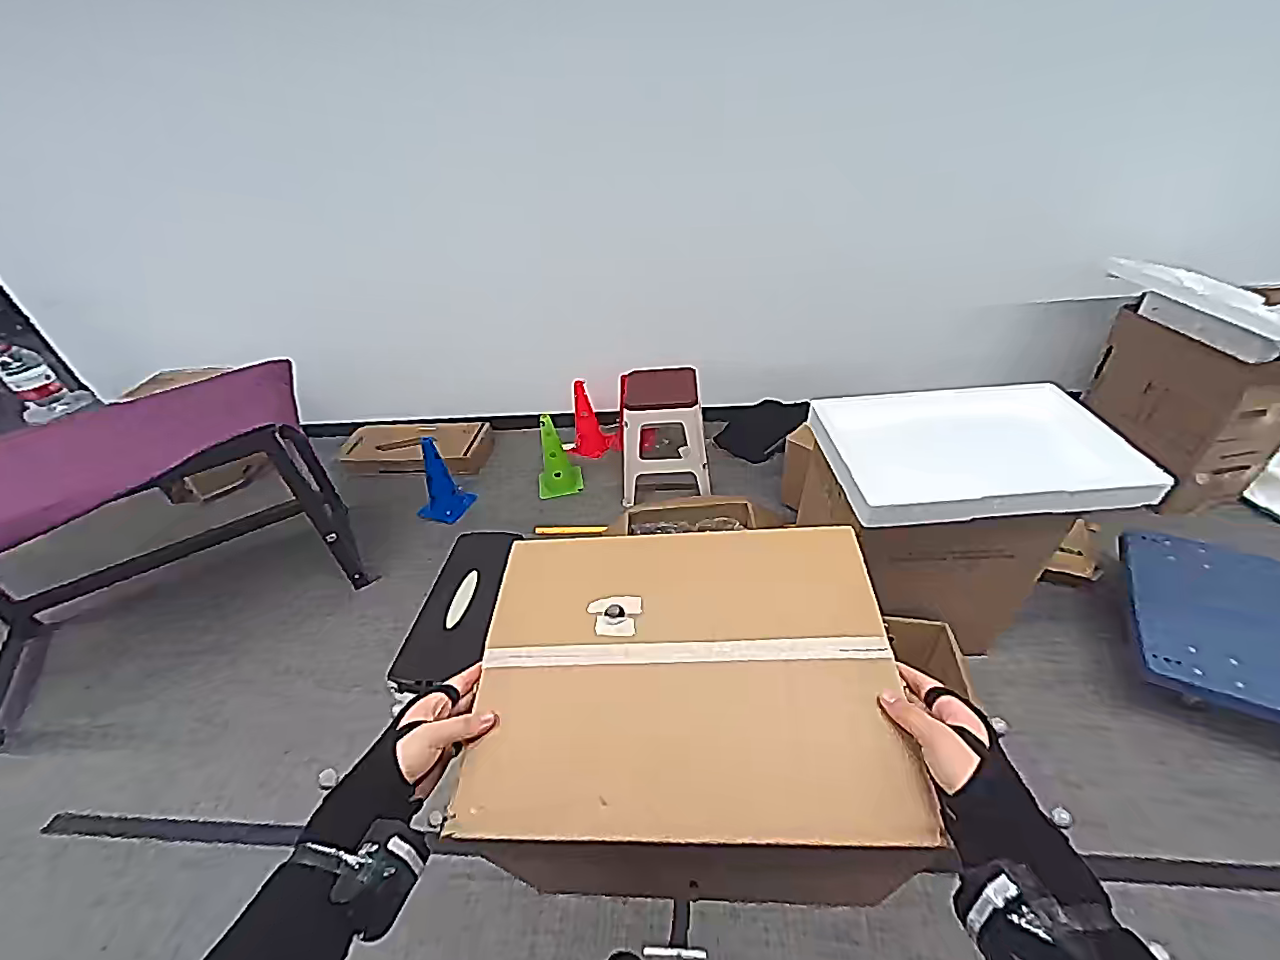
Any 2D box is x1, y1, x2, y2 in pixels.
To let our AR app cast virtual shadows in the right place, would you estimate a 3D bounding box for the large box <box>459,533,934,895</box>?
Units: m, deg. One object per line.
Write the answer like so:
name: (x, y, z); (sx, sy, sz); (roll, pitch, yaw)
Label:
large box: (0.062, 0.291, 0.655); (0.408, 0.320, 0.320); (-4, 44, 7)
